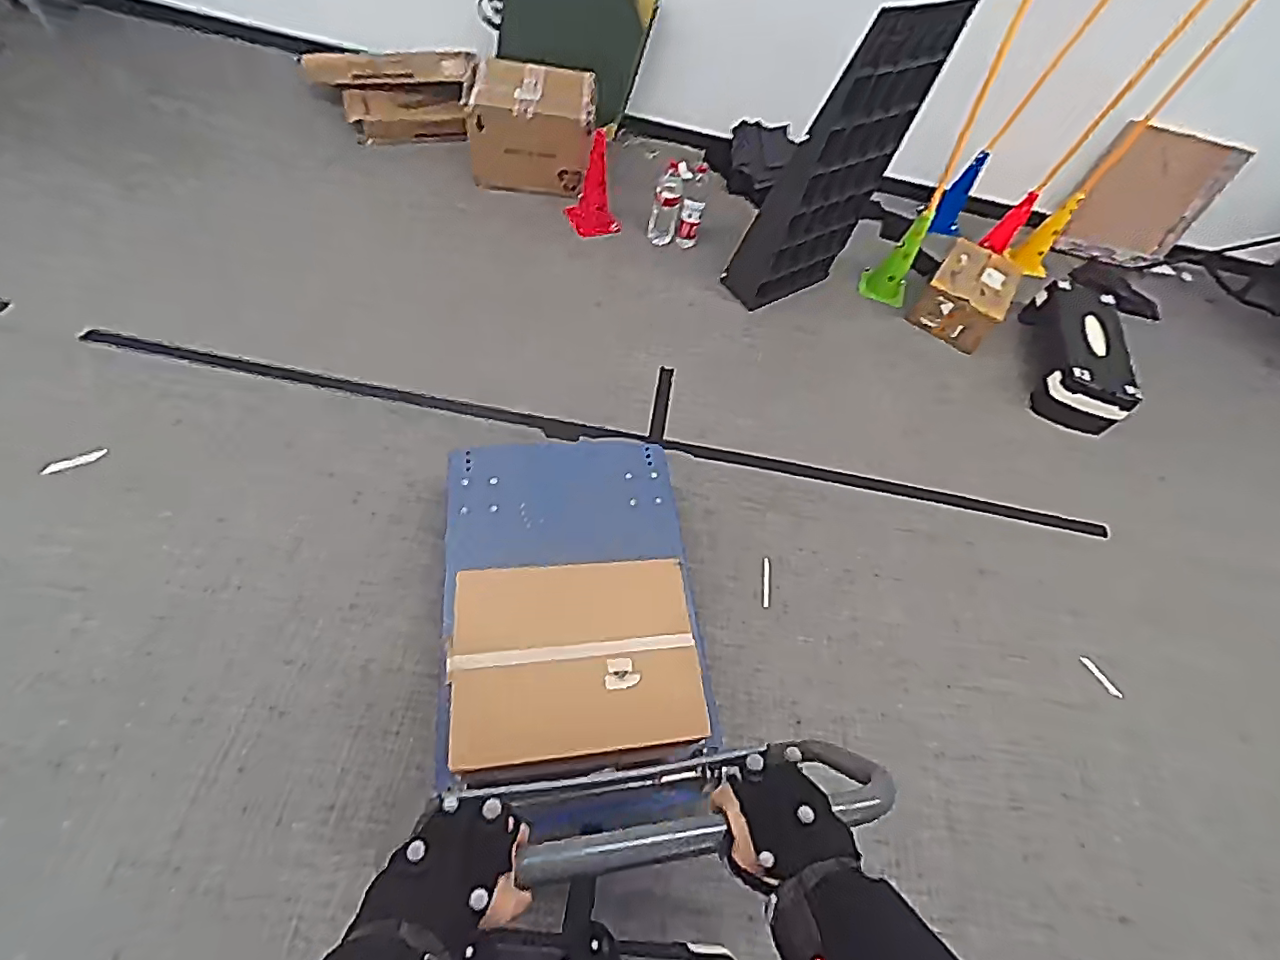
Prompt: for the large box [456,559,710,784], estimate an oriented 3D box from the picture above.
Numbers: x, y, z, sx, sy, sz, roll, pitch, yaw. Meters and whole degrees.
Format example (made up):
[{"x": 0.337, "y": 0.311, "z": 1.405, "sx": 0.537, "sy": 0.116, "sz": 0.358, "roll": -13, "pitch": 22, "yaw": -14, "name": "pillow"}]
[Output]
[{"x": -0.127, "y": 0.365, "z": 1.028, "sx": 0.408, "sy": 0.320, "sz": 0.320, "roll": -1, "pitch": 59, "yaw": -14, "name": "large box"}]
